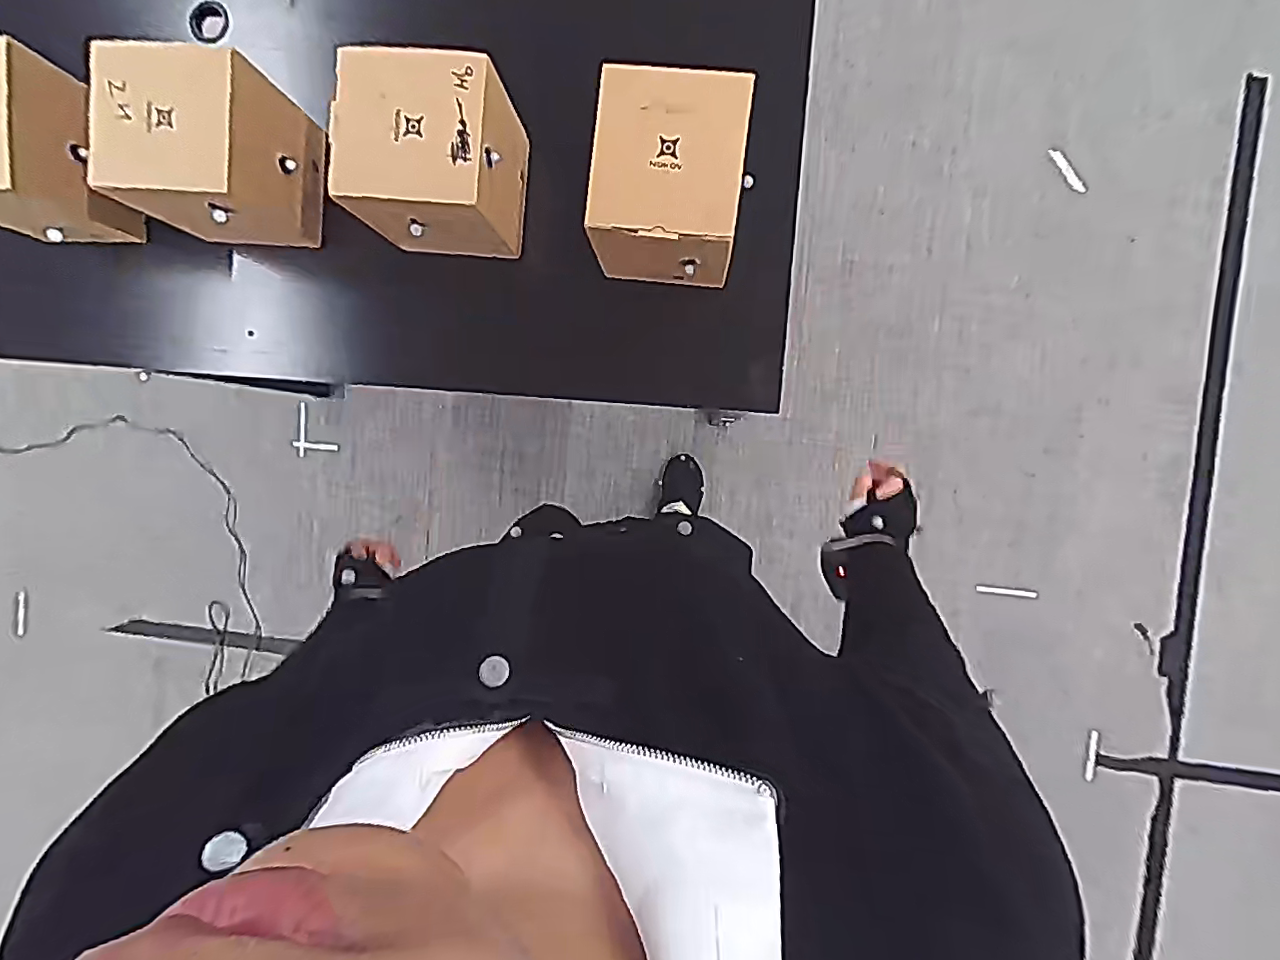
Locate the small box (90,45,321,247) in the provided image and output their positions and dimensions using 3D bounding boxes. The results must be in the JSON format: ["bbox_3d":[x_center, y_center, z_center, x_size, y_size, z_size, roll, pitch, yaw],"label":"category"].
[{"bbox_3d":[-0.549,-0.419,0.705,0.179,0.176,0.168,4,92,3],"label":"small box"}]

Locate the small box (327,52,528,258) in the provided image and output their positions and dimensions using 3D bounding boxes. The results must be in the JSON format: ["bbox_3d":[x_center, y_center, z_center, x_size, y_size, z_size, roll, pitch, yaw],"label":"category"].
[{"bbox_3d":[-0.257,-0.397,0.687,0.179,0.176,0.168,6,93,4],"label":"small box"}]

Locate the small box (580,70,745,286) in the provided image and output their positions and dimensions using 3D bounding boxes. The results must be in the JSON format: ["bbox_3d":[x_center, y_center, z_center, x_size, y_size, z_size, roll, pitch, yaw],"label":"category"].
[{"bbox_3d":[0.029,-0.356,0.670,0.168,0.176,0.179,7,92,3],"label":"small box"}]

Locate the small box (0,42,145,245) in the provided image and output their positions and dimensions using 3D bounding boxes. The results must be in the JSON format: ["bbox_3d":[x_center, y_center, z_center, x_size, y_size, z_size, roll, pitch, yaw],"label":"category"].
[{"bbox_3d":[-0.815,-0.437,0.723,0.168,0.176,0.179,3,94,4],"label":"small box"}]
